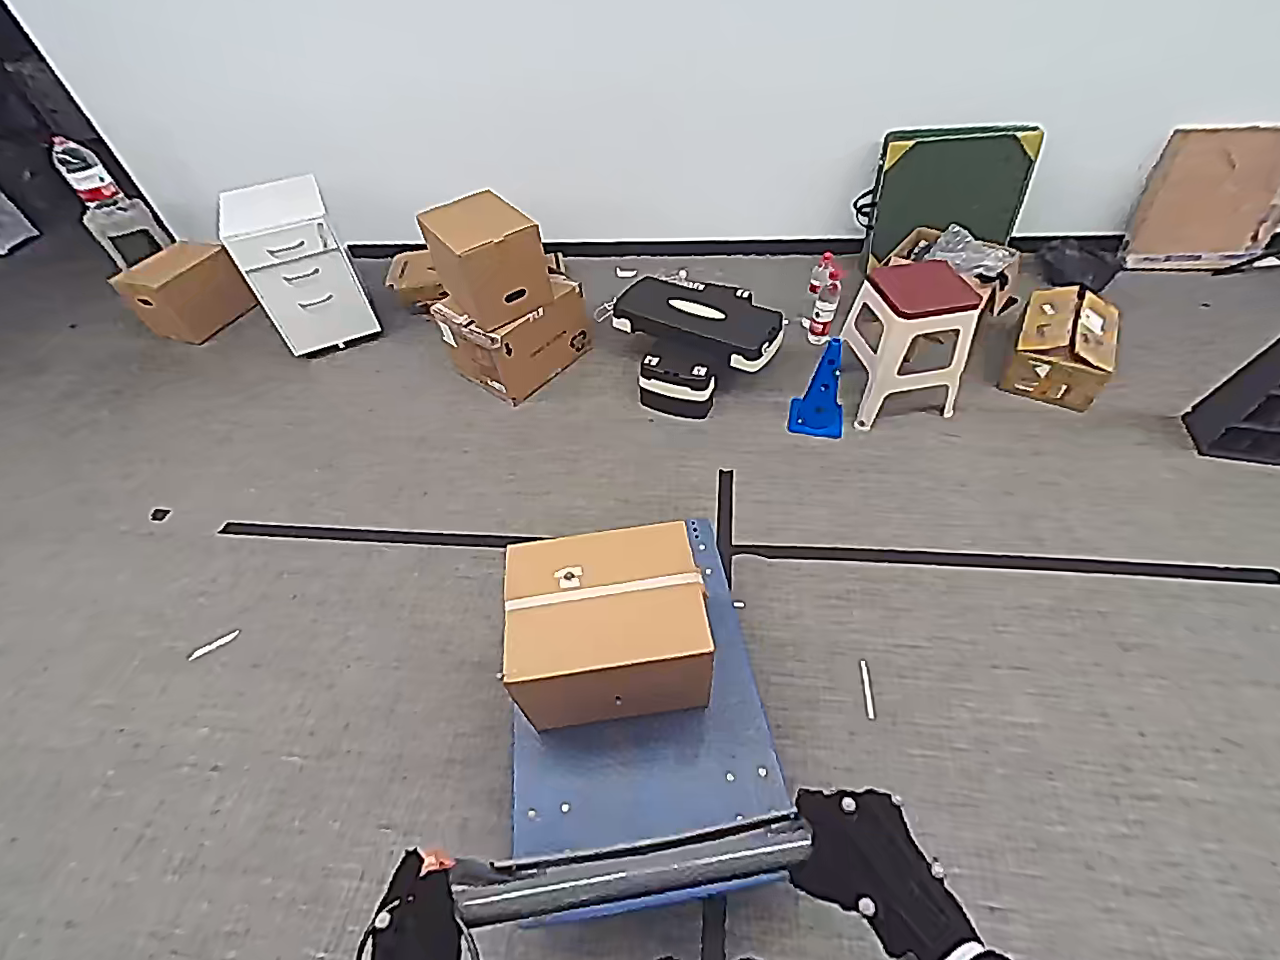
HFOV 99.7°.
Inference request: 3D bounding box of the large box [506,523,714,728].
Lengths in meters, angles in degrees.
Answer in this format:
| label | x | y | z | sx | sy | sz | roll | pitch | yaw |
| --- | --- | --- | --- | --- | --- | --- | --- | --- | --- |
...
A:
| label | x | y | z | sx | sy | sz | roll | pitch | yaw |
| --- | --- | --- | --- | --- | --- | --- | --- | --- | --- |
| large box | -0.065 | 0.336 | 1.230 | 0.408 | 0.320 | 0.320 | -9 | 49 | -2 |
